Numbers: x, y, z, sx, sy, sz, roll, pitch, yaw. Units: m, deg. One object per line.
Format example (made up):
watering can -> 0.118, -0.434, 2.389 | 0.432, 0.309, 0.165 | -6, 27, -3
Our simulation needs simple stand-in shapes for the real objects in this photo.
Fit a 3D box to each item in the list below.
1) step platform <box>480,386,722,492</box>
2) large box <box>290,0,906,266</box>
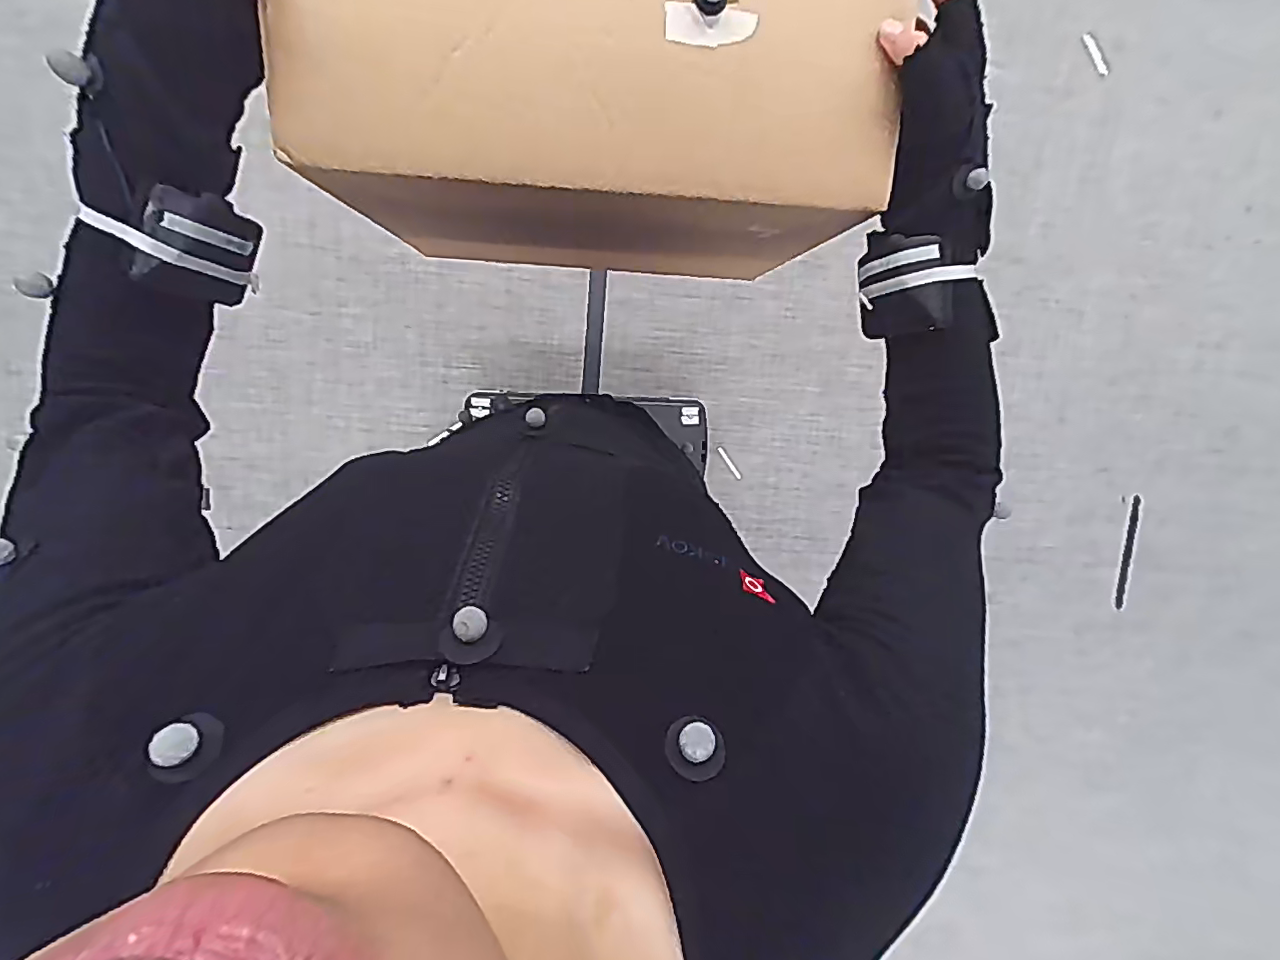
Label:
step platform -> -0.108, -0.120, 1.560 | 0.684, 0.204, 0.286 | 1, 99, -5
large box -> -0.032, -0.386, 0.484 | 0.408, 0.320, 0.320 | 1, 103, -6
